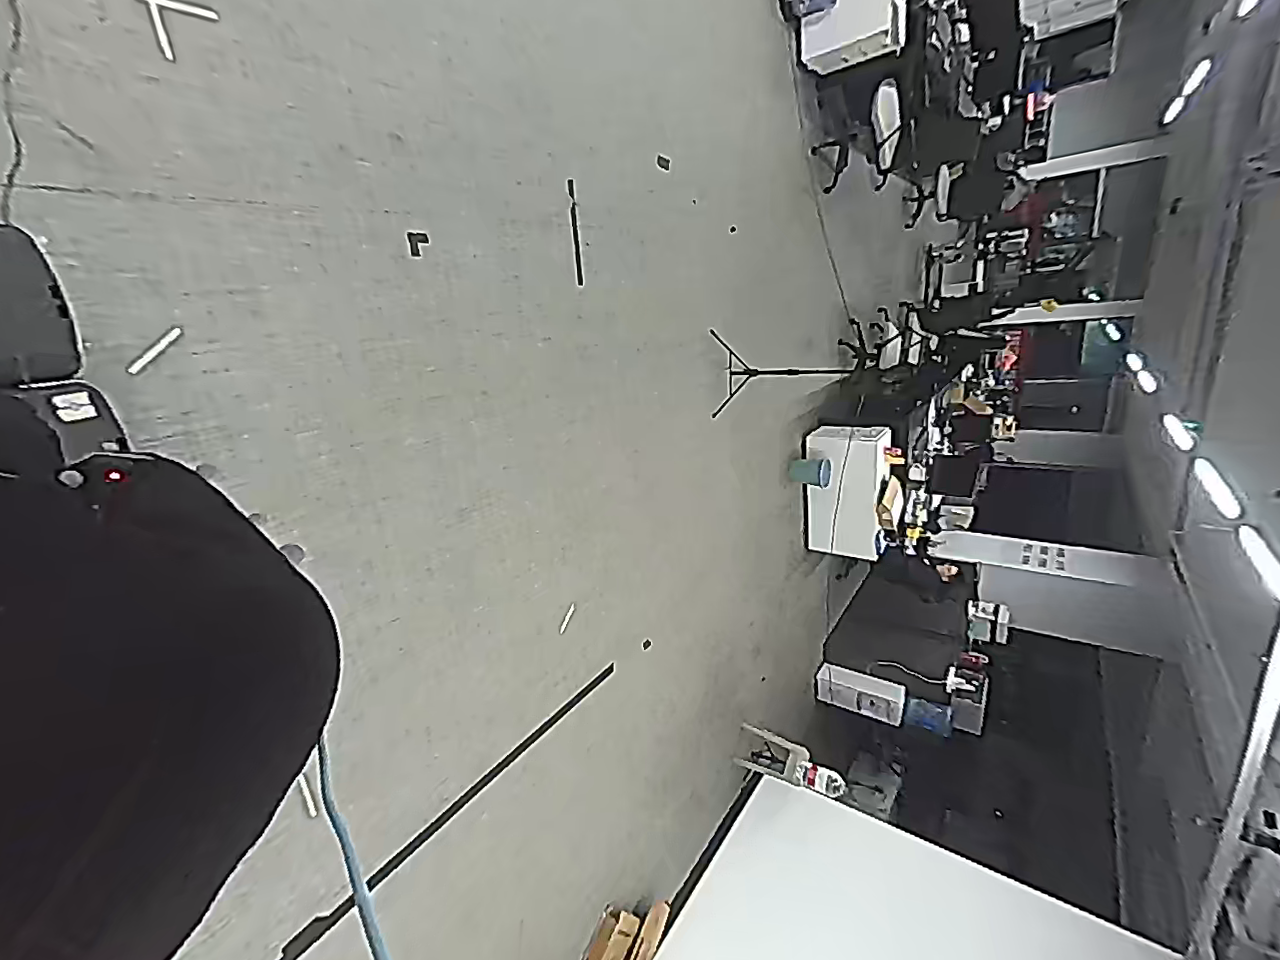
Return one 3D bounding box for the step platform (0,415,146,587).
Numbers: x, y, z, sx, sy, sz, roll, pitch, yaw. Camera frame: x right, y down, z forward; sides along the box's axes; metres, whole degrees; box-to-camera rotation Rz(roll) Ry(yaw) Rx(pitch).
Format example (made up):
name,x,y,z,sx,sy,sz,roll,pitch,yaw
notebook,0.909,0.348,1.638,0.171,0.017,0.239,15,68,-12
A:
name,x,y,z,sx,sy,sz,roll,pitch,yaw
step platform,-1.258,0.072,0.868,0.684,0.204,0.286,-19,109,-49
